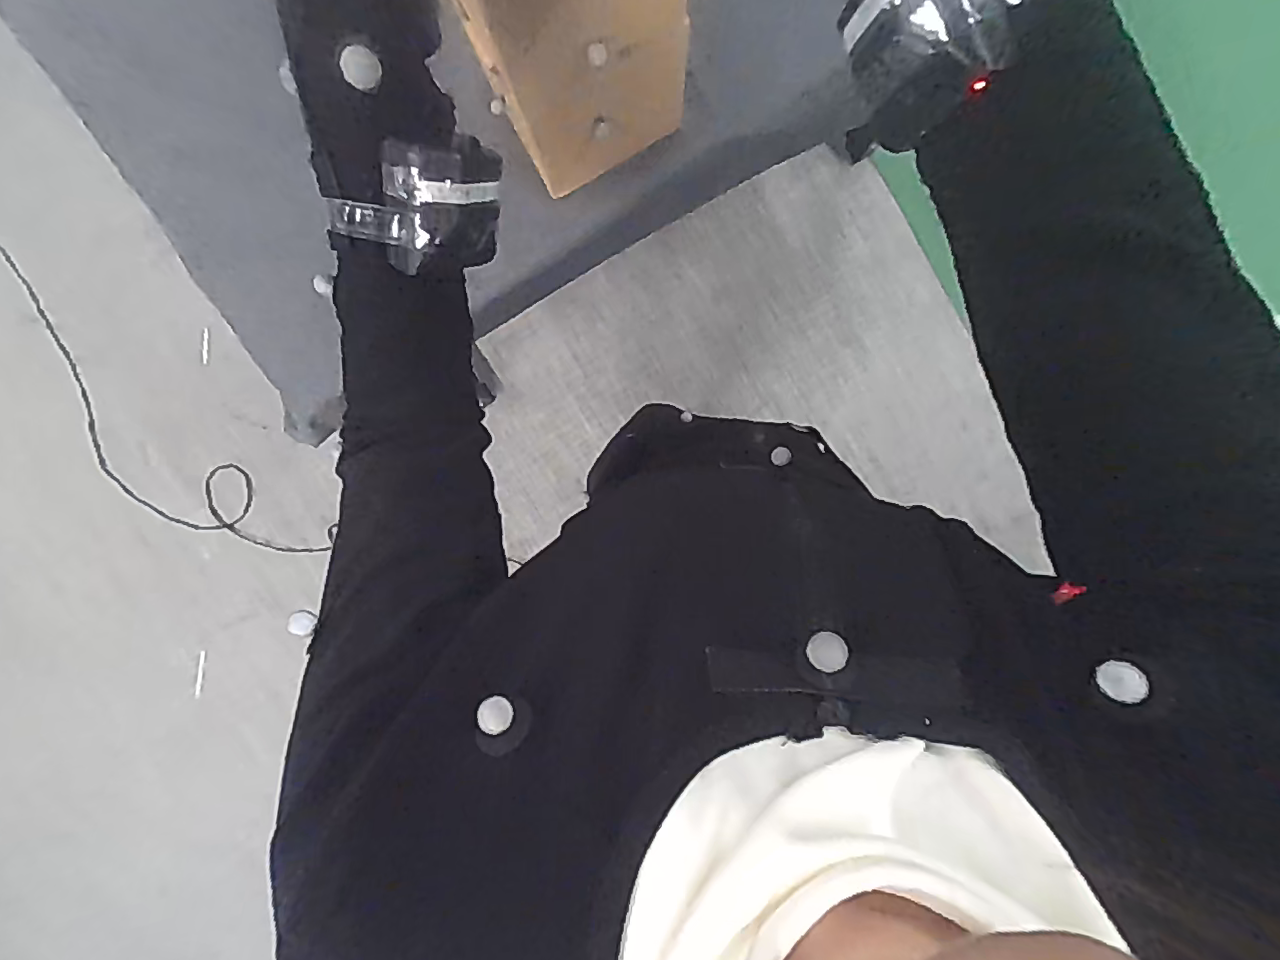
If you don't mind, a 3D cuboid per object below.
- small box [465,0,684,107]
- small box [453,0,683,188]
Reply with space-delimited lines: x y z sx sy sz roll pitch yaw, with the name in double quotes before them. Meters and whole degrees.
"small box" -0.074 -0.436 0.399 0.168 0.176 0.179 -29 92 5
"small box" -0.067 -0.448 0.563 0.179 0.176 0.168 -29 94 5
